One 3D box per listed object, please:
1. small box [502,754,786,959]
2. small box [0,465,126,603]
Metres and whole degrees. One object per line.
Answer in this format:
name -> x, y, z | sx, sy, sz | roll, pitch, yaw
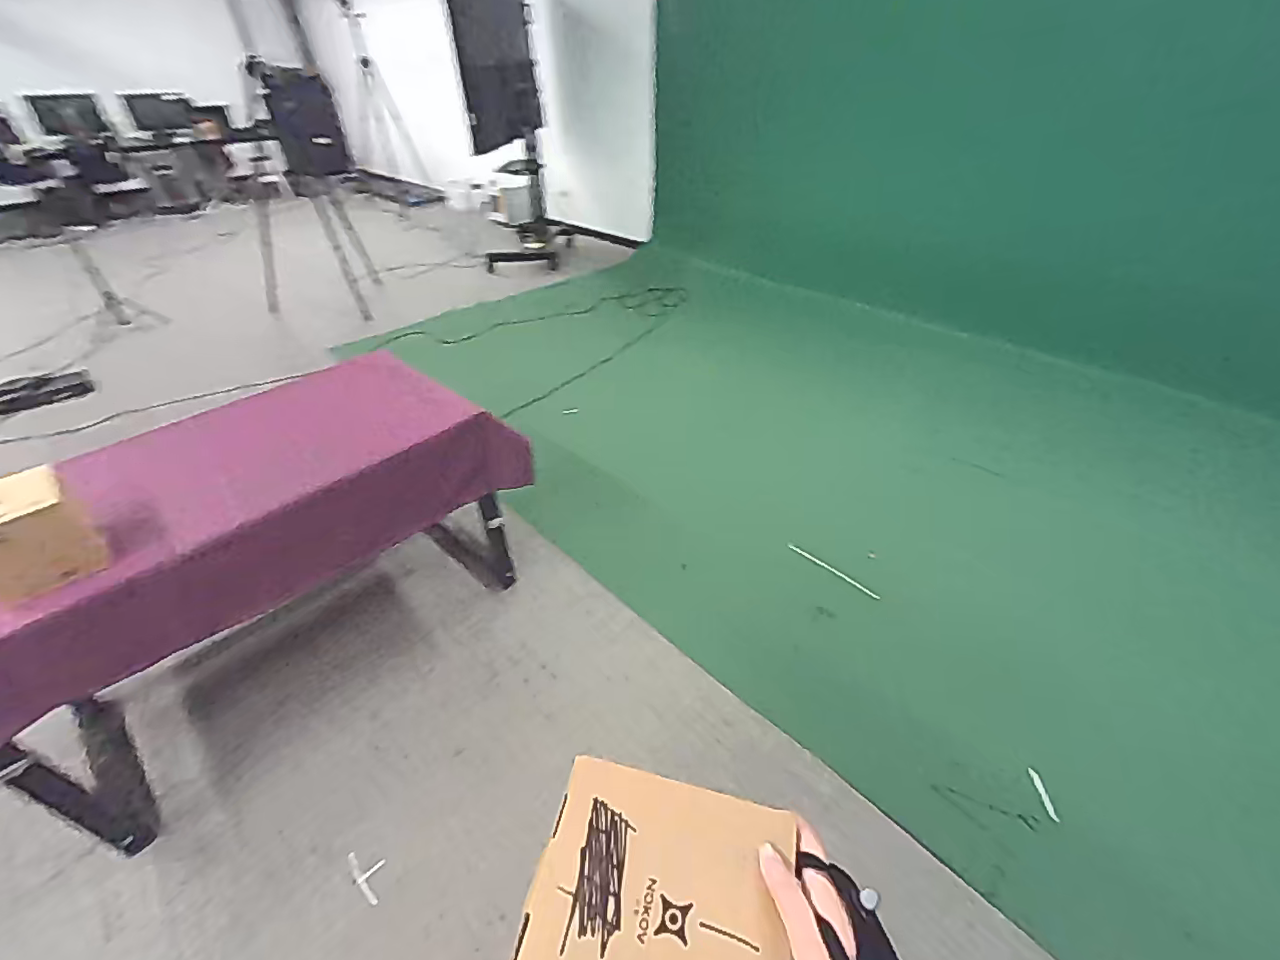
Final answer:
small box -> 0.006, 0.347, 0.424 | 0.179, 0.176, 0.168 | 11, 46, 8
small box -> -1.155, 0.103, 1.049 | 0.168, 0.176, 0.179 | -33, 47, -32
